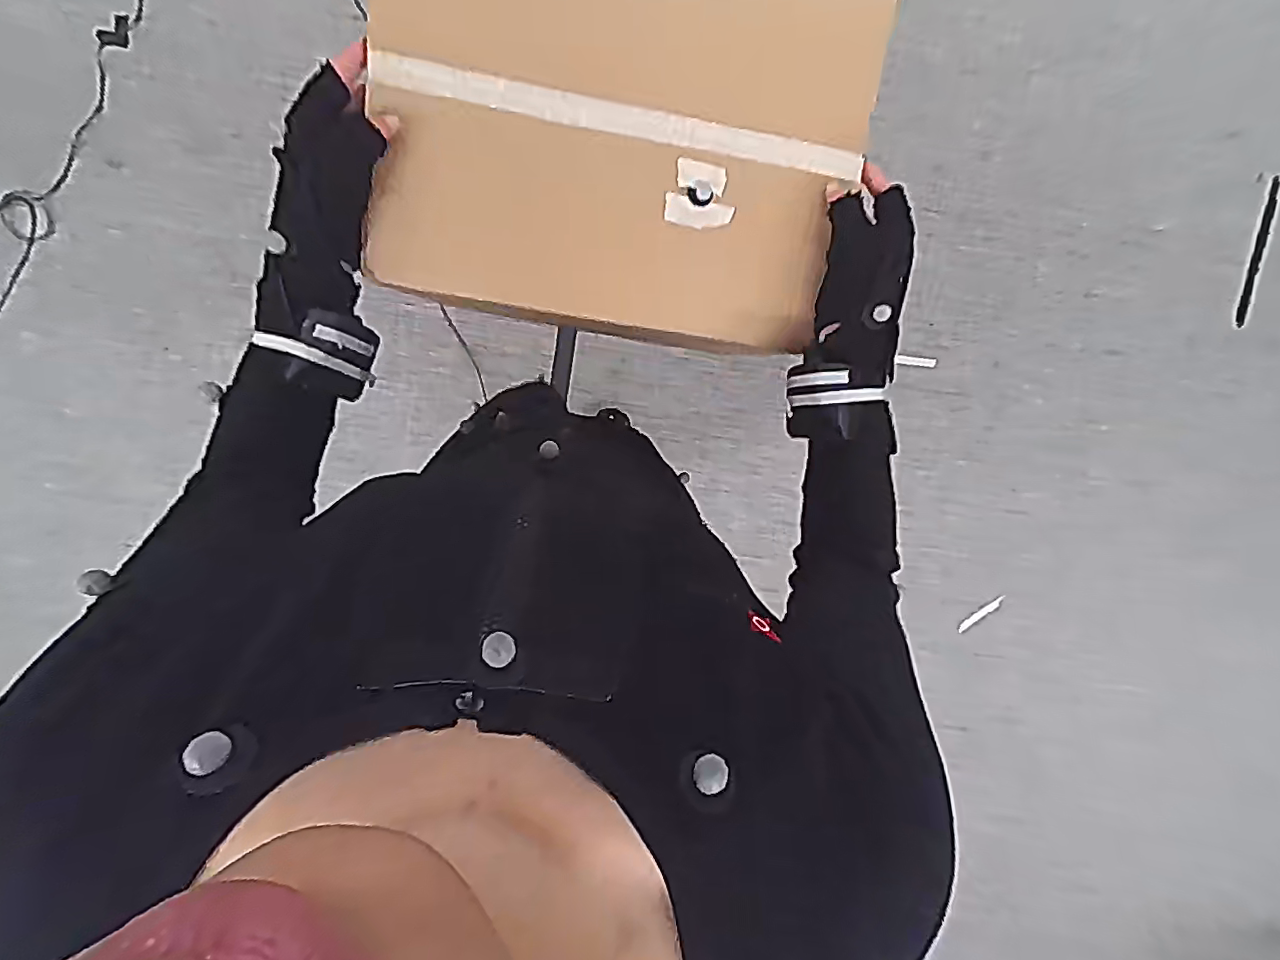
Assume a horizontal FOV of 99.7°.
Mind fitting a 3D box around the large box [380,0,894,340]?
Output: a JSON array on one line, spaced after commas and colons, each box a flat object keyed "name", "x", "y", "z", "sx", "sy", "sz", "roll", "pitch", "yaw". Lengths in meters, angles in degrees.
[{"name": "large box", "x": -0.020, "y": -0.337, "z": 0.586, "sx": 0.408, "sy": 0.320, "sz": 0.320, "roll": 7, "pitch": 103, "yaw": -8}]
